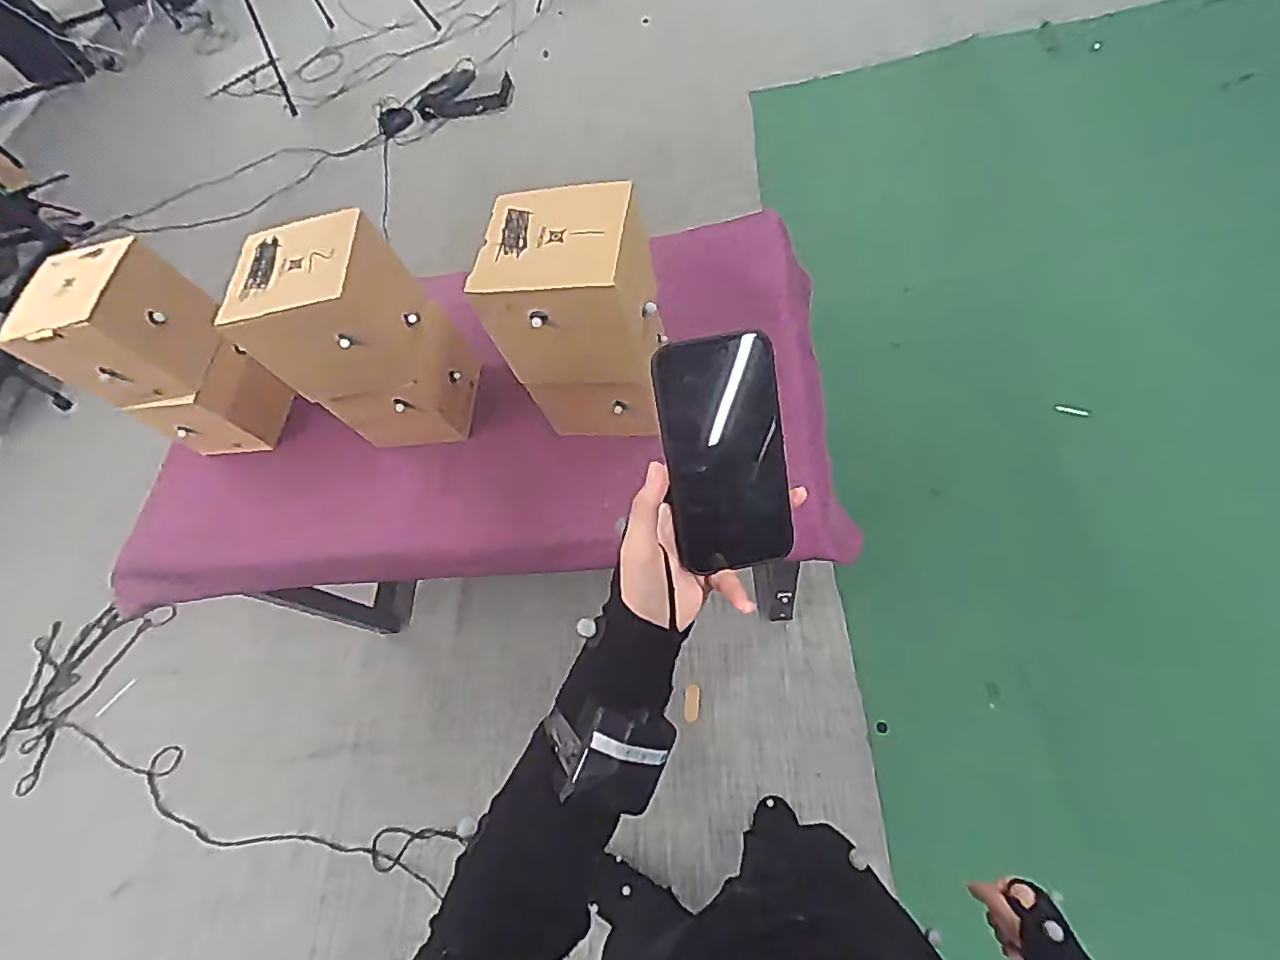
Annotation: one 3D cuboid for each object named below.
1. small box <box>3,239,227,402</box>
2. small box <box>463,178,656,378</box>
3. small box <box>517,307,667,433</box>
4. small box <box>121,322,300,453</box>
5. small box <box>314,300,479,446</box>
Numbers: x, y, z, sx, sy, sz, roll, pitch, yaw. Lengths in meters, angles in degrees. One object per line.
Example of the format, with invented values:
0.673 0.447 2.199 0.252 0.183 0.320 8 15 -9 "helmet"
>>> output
-0.808 -0.239 0.856 0.168 0.176 0.179 -8 63 9 "small box"
-0.087 -0.242 0.680 0.179 0.176 0.168 1 64 14 "small box"
-0.060 -0.183 0.832 0.179 0.176 0.168 1 64 15 "small box"
-0.772 -0.160 0.995 0.168 0.176 0.179 -4 63 12 "small box"
-0.392 -0.171 0.906 0.179 0.176 0.168 -5 63 12 "small box"
